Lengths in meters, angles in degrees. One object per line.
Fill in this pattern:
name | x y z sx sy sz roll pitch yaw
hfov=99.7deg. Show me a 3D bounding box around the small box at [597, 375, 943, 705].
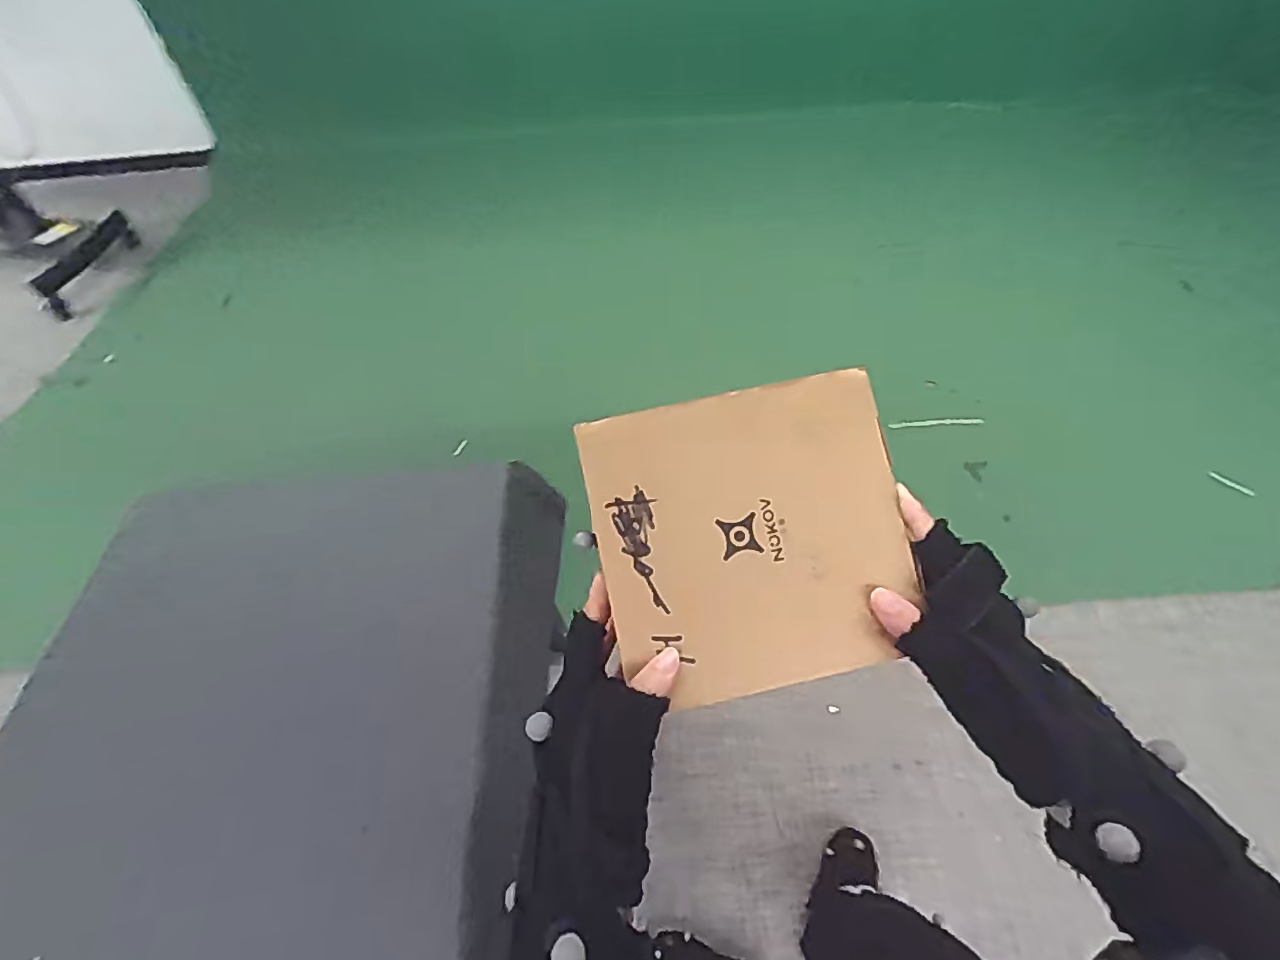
small box | 0.070 0.041 0.389 0.179 0.176 0.168 -11 82 -3
